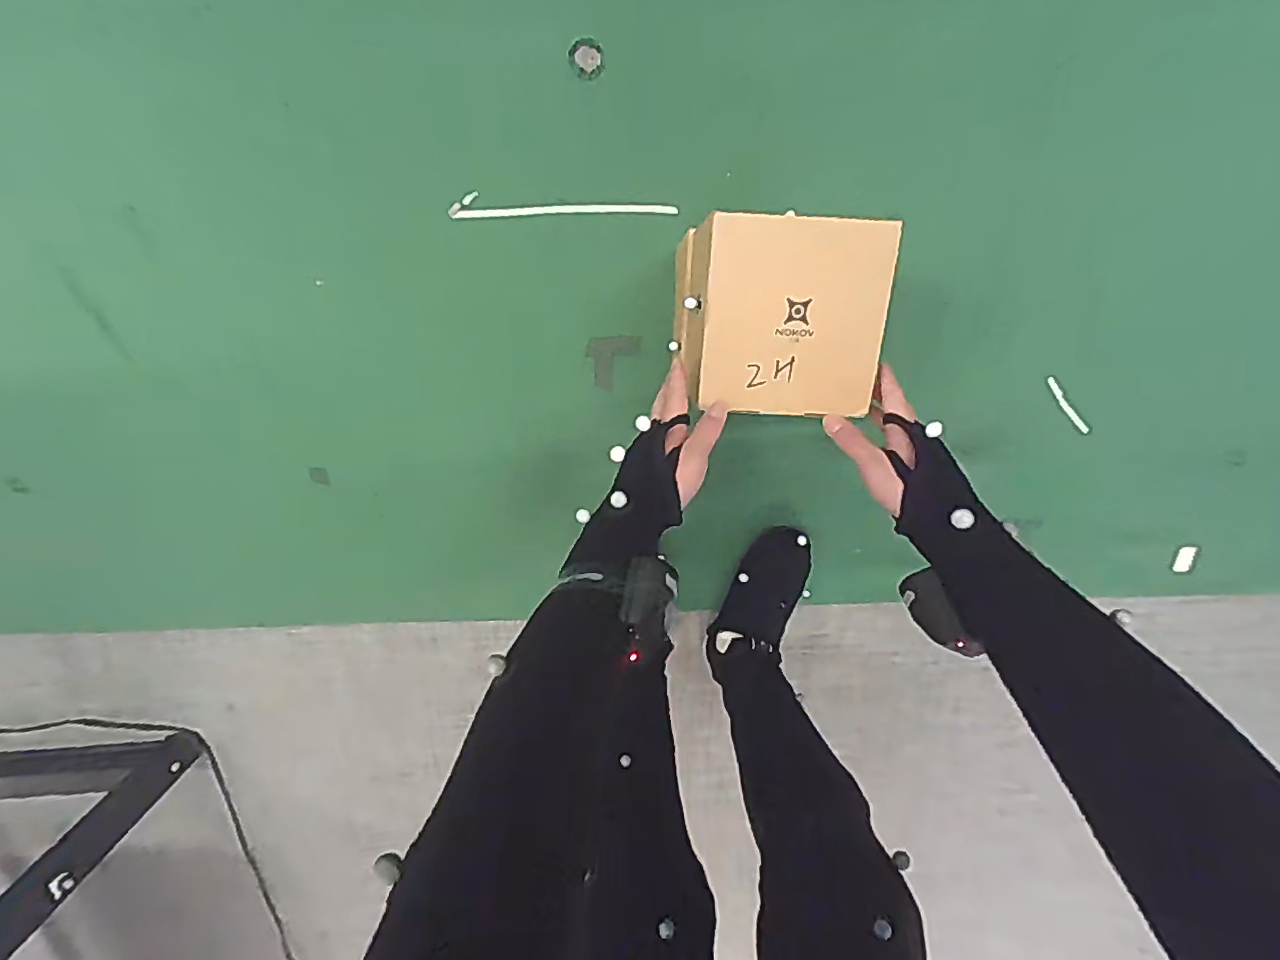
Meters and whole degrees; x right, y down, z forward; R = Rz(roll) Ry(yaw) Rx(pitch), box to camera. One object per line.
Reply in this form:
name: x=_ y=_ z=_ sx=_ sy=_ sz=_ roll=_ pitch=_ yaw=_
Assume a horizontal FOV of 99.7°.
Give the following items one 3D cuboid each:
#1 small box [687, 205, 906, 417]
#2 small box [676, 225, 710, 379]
small box: x=0.141 y=-0.172 z=0.560 sx=0.168 sy=0.176 sz=0.179 roll=3 pitch=109 yaw=-1
small box: x=0.136 y=-0.229 z=0.714 sx=0.168 sy=0.176 sz=0.179 roll=1 pitch=109 yaw=-1
